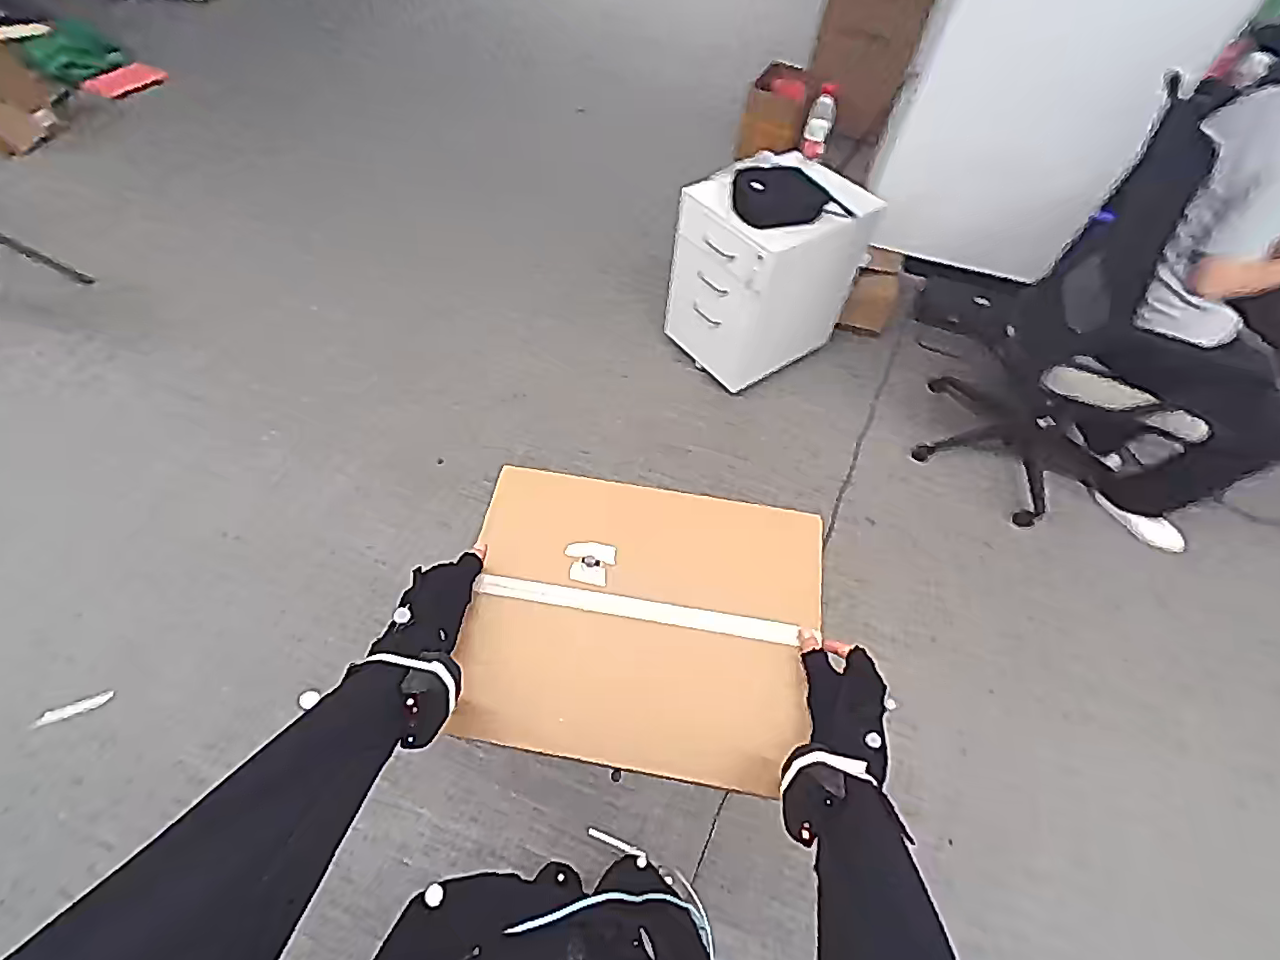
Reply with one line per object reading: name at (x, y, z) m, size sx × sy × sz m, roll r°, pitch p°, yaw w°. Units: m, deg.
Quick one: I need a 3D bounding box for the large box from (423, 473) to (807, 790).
large box at (-0.008, 0.217, 0.751) m, size 0.408 × 0.320 × 0.320 m, roll 9°, pitch 62°, yaw 5°
